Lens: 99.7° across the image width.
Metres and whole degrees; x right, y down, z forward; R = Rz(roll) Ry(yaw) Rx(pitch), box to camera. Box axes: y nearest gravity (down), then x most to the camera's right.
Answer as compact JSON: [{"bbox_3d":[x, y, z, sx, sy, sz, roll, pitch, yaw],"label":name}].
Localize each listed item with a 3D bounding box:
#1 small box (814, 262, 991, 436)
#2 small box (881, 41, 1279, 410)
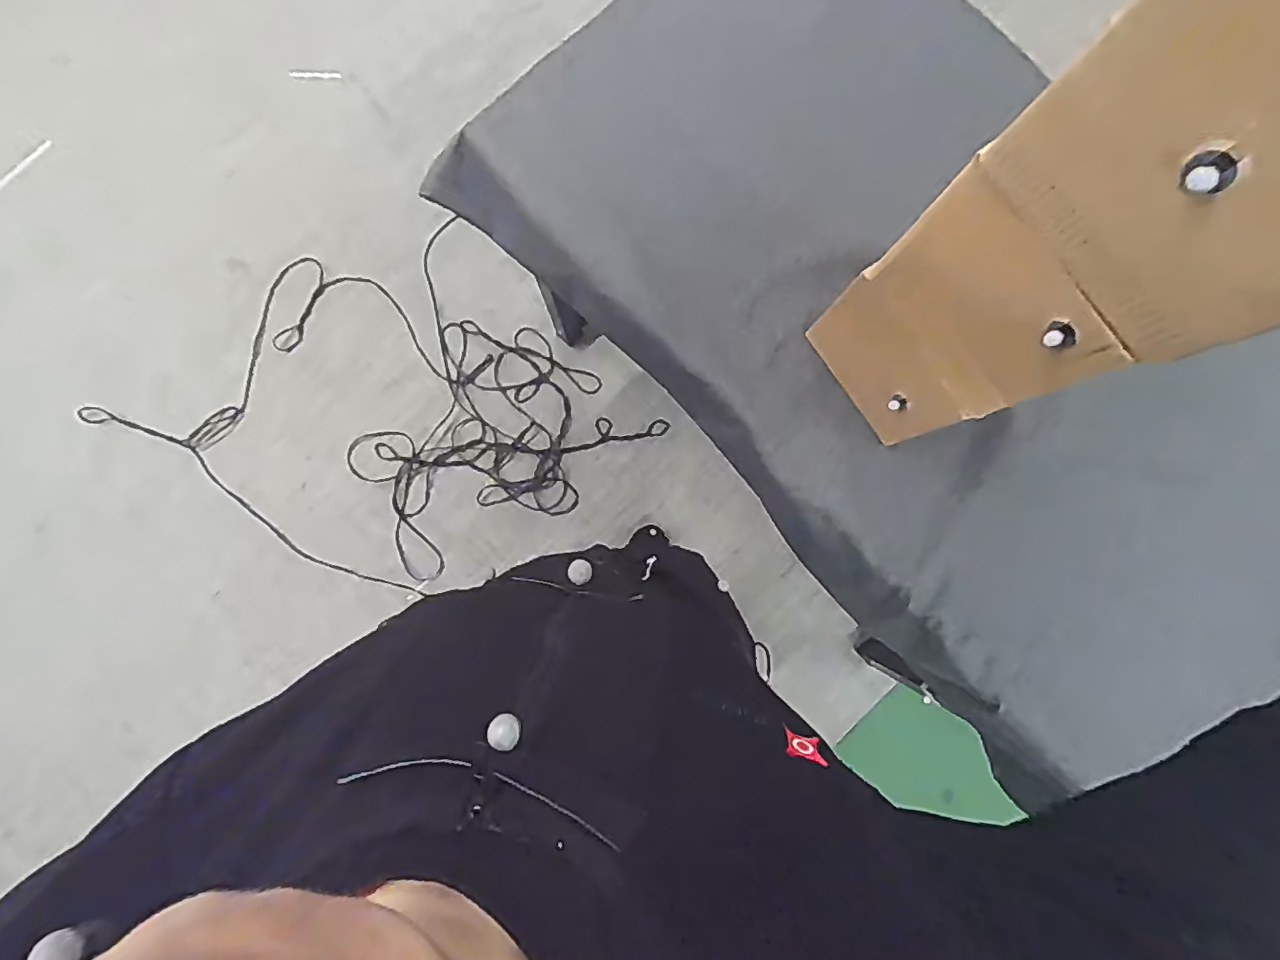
[{"bbox_3d":[0.329,-0.164,0.601,0.168,0.176,0.179,-35,86,-5],"label":"small box"},{"bbox_3d":[0.338,-0.181,0.440,0.168,0.176,0.179,-35,87,-5],"label":"small box"}]
